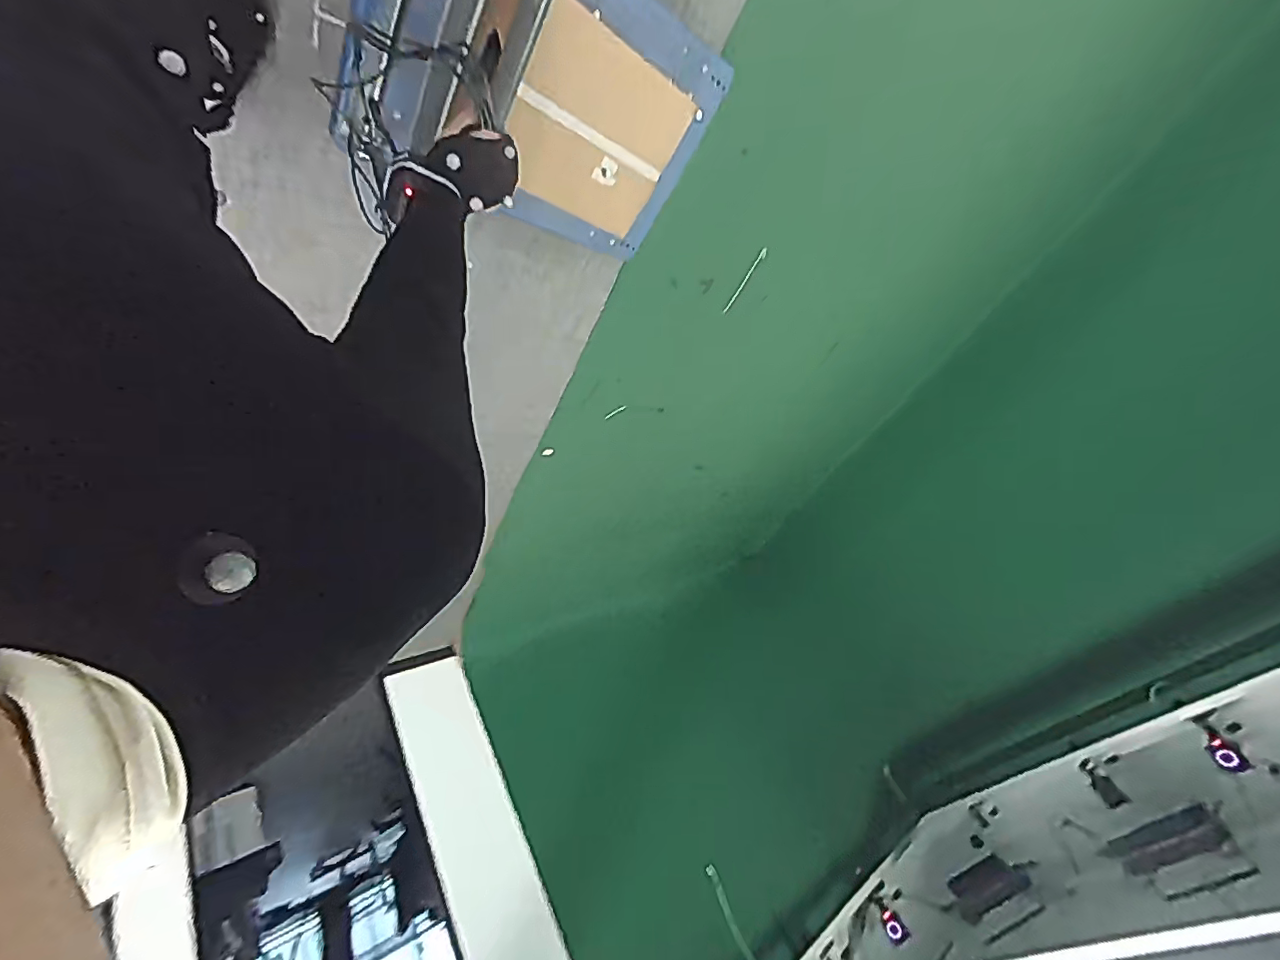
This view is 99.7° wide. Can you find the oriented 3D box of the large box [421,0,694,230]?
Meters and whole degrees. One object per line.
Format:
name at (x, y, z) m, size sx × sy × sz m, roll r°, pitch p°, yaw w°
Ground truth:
large box at (-0.175, -0.802, 1.128) m, size 0.408 × 0.320 × 0.320 m, roll 1°, pitch 137°, yaw -48°
